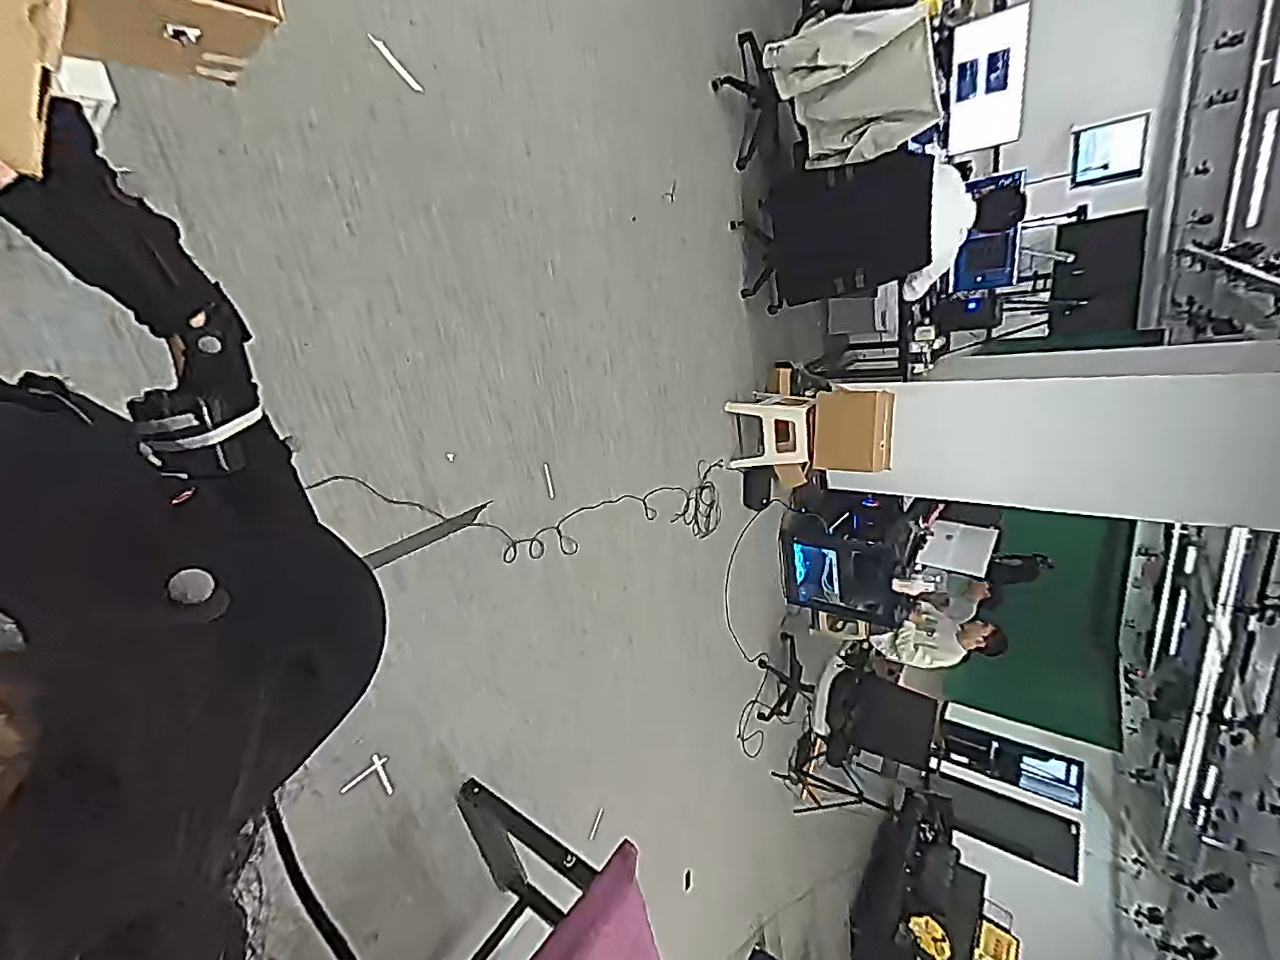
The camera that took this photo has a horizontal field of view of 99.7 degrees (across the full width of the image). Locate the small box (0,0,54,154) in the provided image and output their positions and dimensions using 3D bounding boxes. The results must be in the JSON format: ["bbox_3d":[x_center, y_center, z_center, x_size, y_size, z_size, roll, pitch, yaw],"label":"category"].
[{"bbox_3d":[-0.426,-0.286,0.256,0.179,0.176,0.168,-1,109,-59],"label":"small box"}]
